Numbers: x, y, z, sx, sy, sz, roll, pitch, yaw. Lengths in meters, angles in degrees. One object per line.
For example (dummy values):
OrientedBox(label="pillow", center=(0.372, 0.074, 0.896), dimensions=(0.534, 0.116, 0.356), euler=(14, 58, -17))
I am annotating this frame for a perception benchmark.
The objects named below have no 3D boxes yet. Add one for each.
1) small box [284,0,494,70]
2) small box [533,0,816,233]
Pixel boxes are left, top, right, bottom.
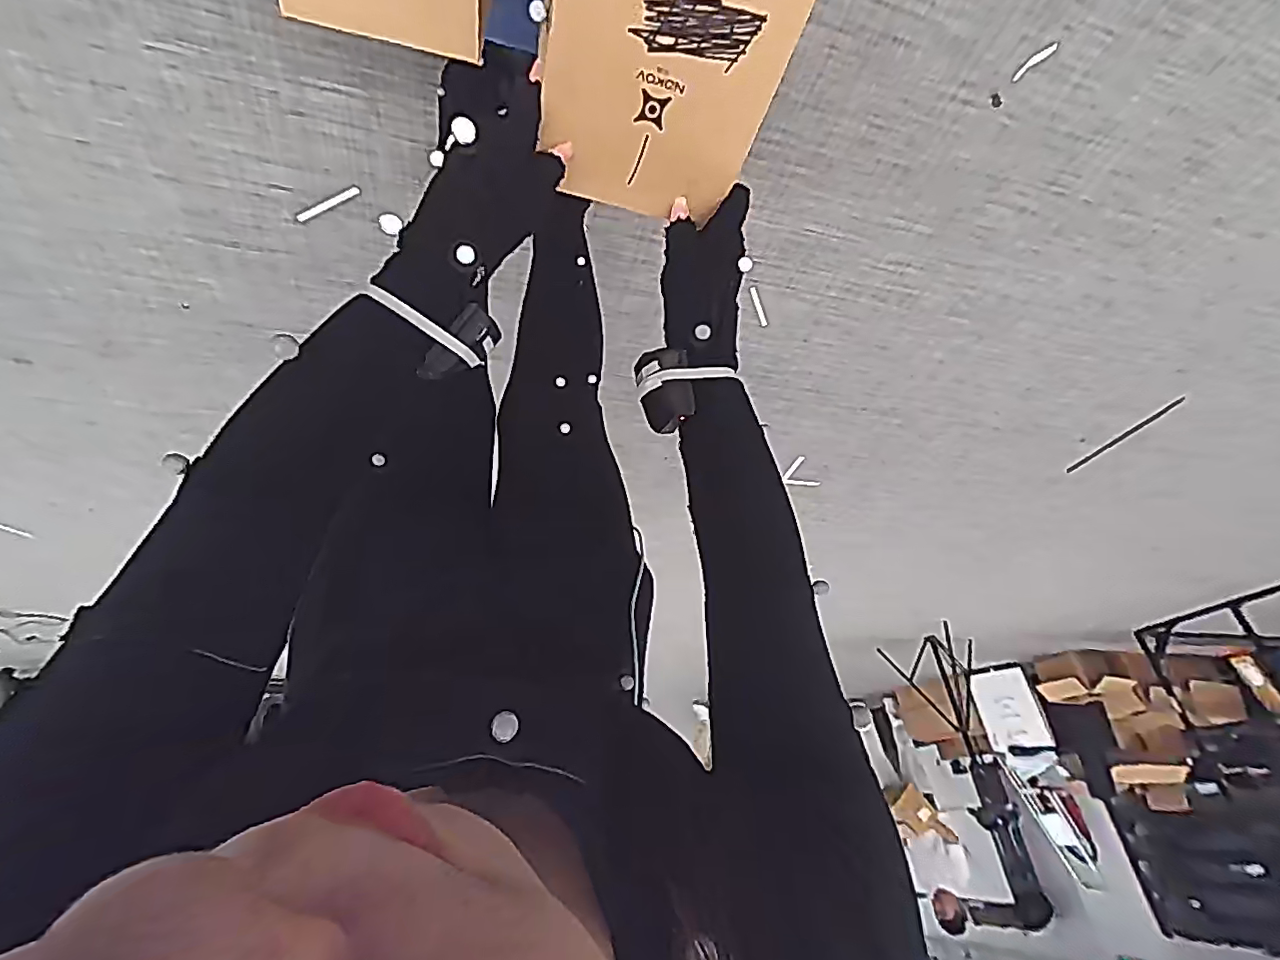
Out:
OrientedBox(label="small box", center=(-0.212, -0.507, 0.466), dimensions=(0.168, 0.176, 0.179), euler=(4, 145, -14))
OrientedBox(label="small box", center=(0.008, -0.345, 0.440), dimensions=(0.168, 0.176, 0.179), euler=(7, 146, -17))
